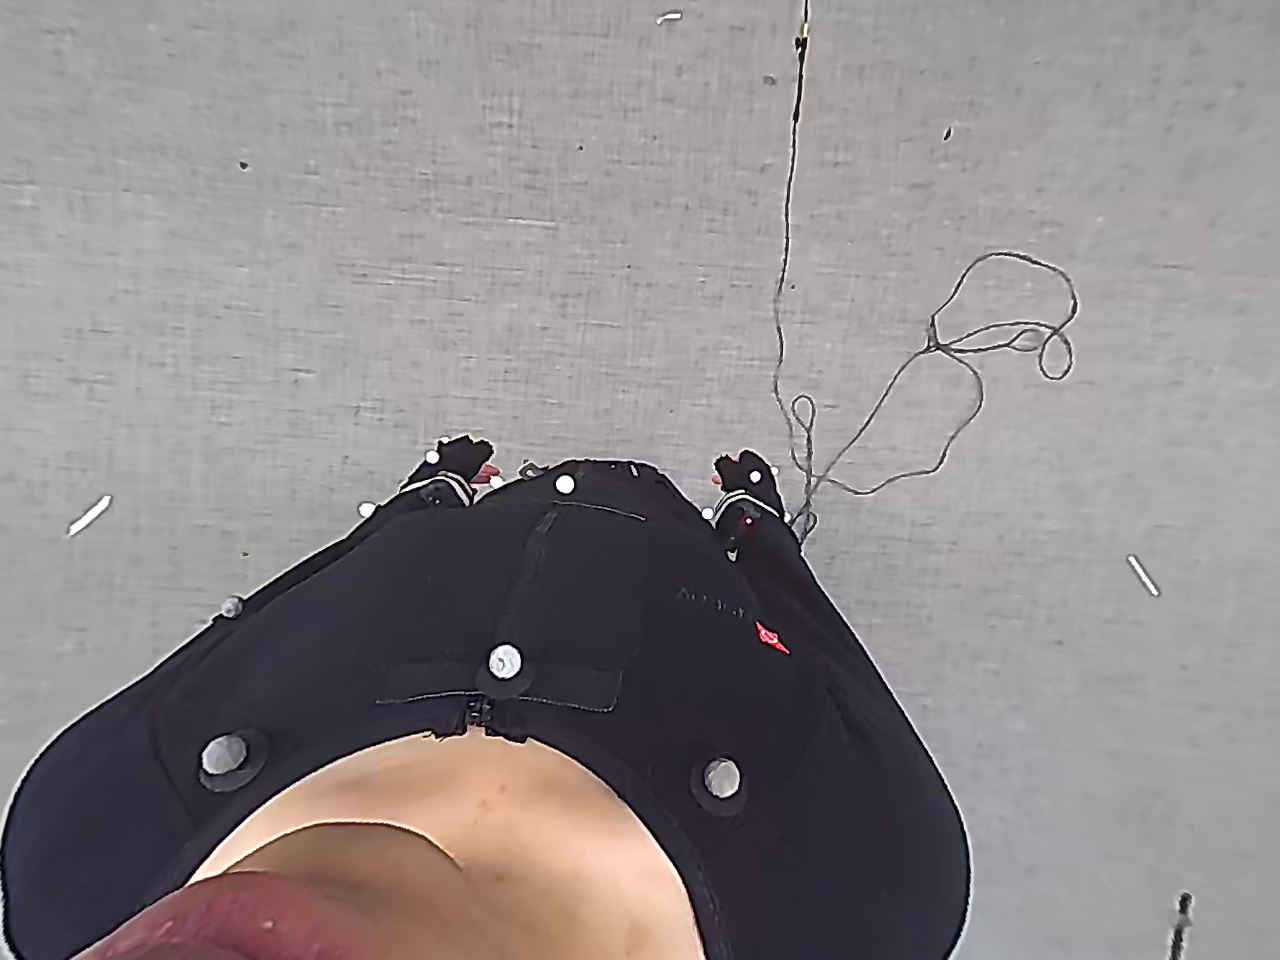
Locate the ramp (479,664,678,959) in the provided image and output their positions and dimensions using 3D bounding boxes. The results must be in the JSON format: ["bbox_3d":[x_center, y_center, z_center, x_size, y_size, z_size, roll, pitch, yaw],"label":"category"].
[{"bbox_3d":[-0.167,1.019,1.452,0.509,0.206,0.991,2,93,1],"label":"ramp"}]
